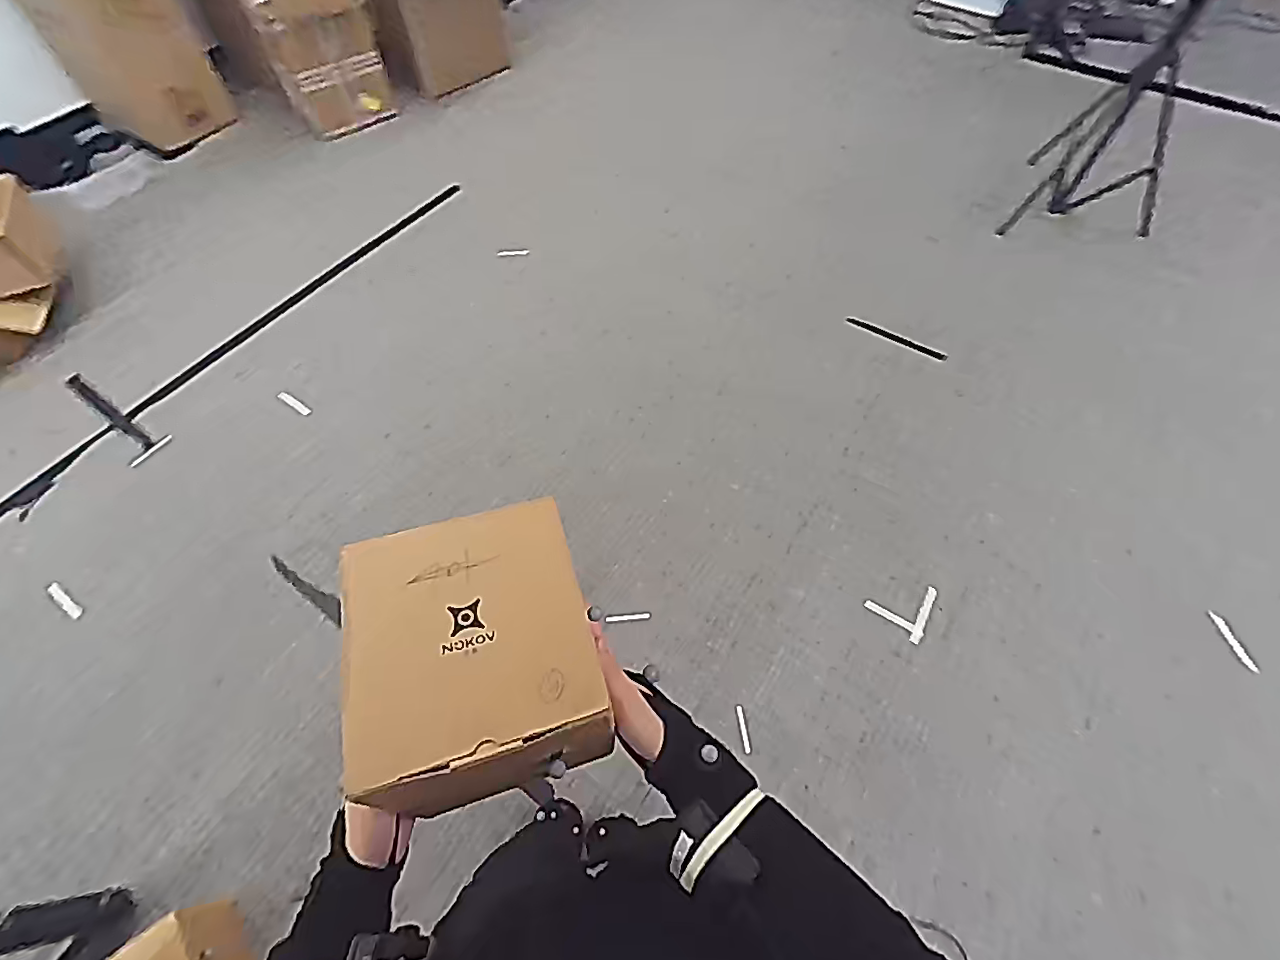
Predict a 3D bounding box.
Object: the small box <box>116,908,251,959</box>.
[{"bbox_3d":[-0.882,0.960,1.028,0.168,0.176,0.179,-35,66,-19],"label":"small box"}]
